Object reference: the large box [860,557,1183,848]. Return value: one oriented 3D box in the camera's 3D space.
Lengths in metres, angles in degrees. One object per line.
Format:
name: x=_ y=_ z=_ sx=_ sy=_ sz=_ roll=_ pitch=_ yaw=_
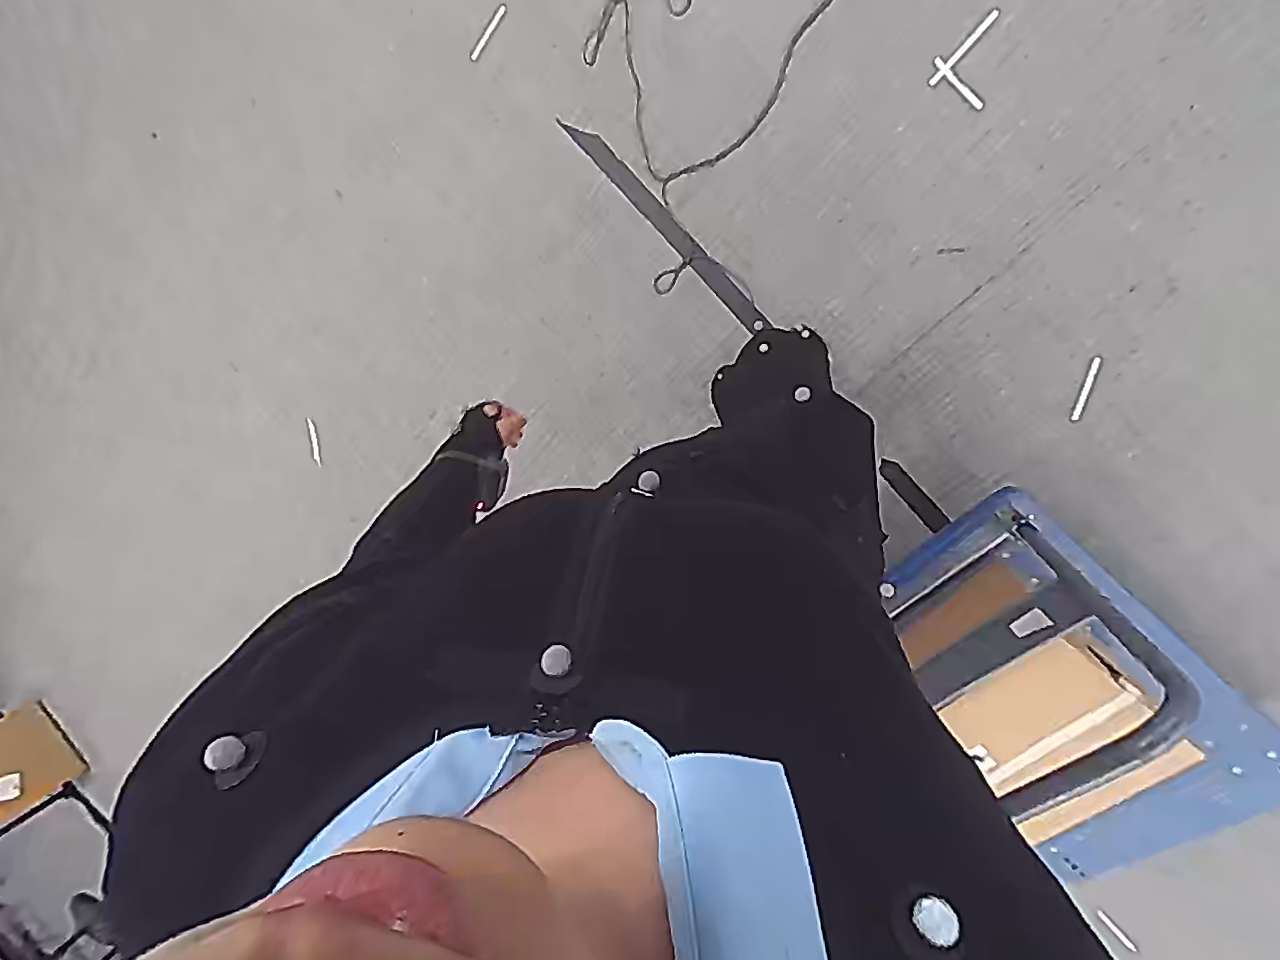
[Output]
large box: x=0.725 y=0.439 z=1.118 sx=0.320 sy=0.320 sz=0.408 roll=40 pitch=114 yaw=4
